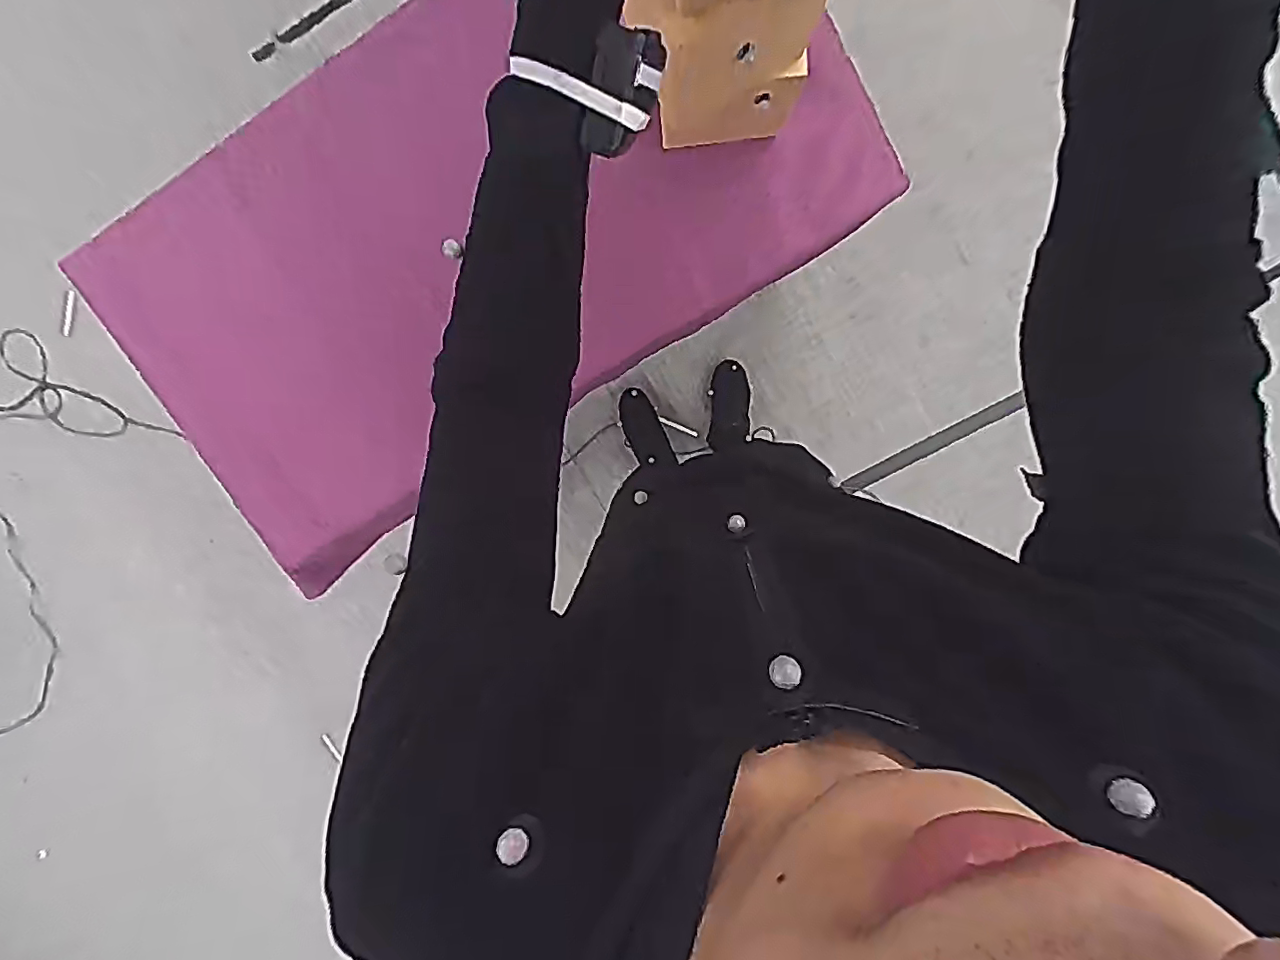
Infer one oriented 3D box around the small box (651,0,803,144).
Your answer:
[{"bbox_3d":[0.105,-0.572,0.712,0.179,0.176,0.168,-4,101,4],"label":"small box"}]
